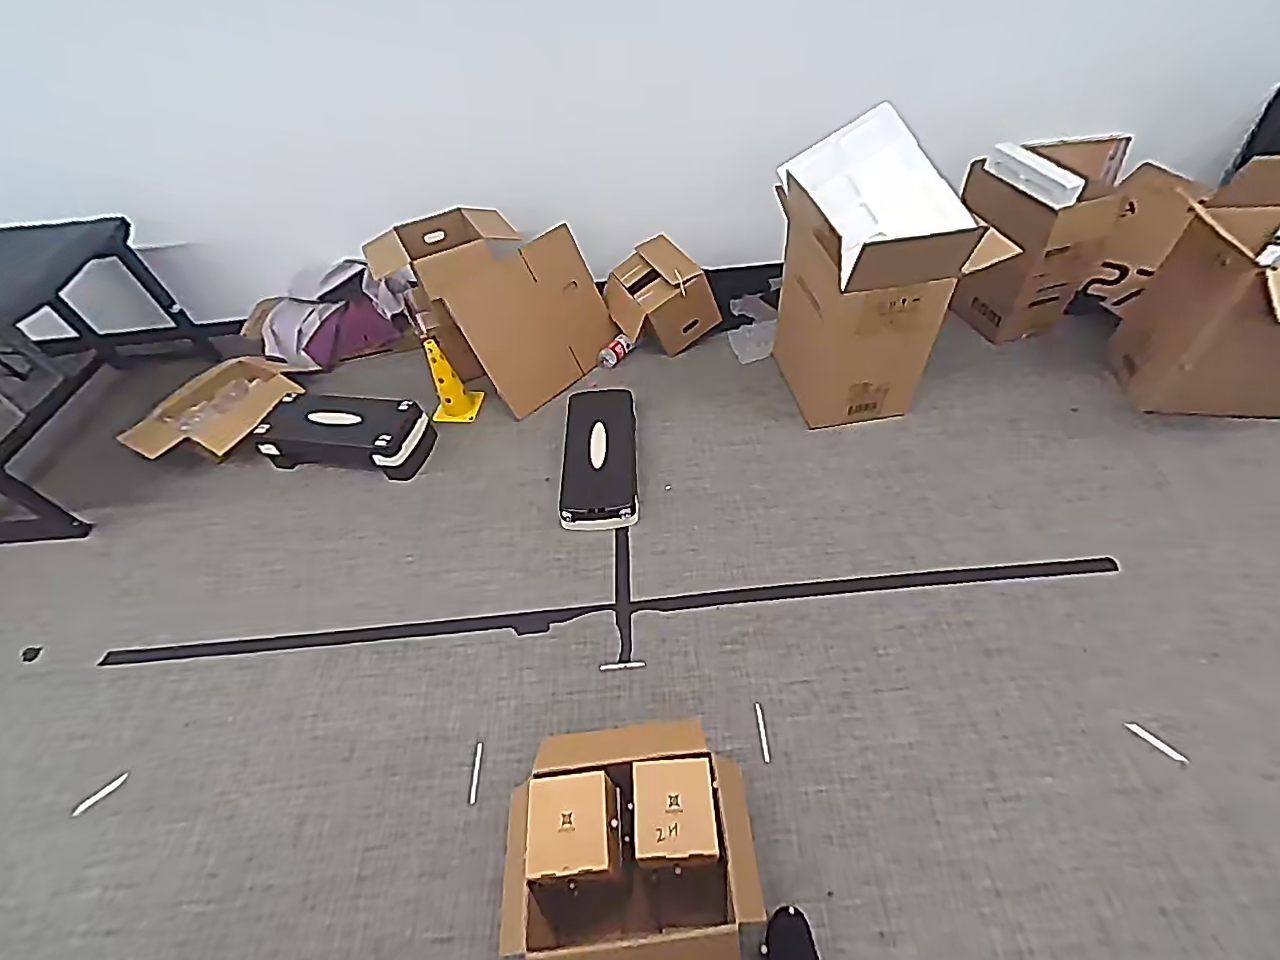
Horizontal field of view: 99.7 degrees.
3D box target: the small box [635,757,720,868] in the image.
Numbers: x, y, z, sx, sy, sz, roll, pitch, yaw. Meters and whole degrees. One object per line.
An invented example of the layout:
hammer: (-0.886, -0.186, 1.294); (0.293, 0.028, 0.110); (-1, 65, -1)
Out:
small box: (0.077, 0.712, 1.155); (0.168, 0.176, 0.179); (-4, 50, 3)
